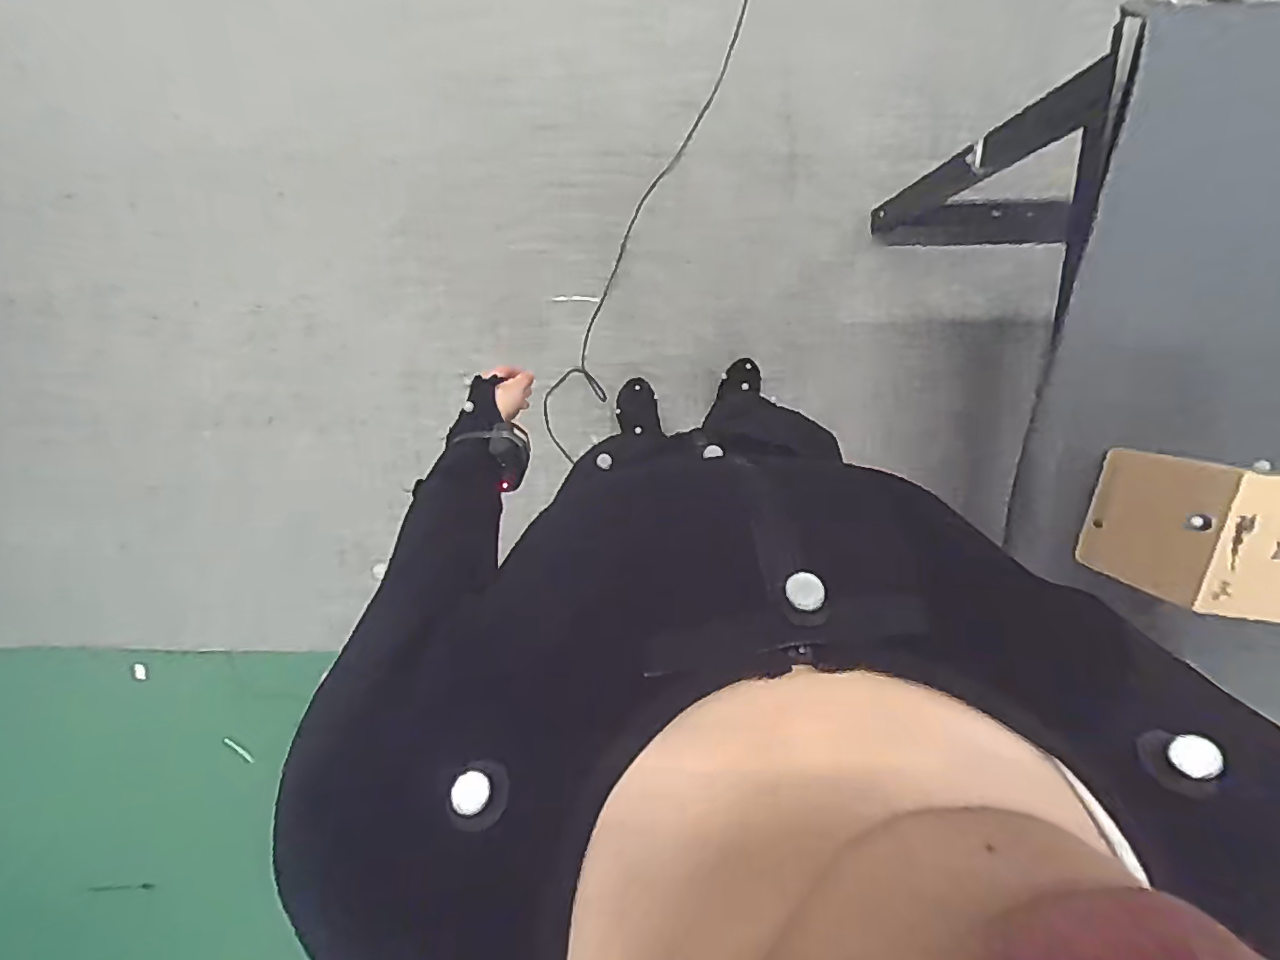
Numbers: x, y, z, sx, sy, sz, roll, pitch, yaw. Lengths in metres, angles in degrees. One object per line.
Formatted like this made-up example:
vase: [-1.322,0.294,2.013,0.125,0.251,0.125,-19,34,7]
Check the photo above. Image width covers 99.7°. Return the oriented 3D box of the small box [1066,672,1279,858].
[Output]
small box: [0.739,0.382,0.744,0.179,0.176,0.168,-1,101,-3]

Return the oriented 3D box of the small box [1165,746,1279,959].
small box: [0.741,0.413,0.585,0.179,0.176,0.168,-4,100,-1]

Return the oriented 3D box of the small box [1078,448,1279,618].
small box: [0.718,0.059,0.679,0.179,0.176,0.168,8,101,-4]
